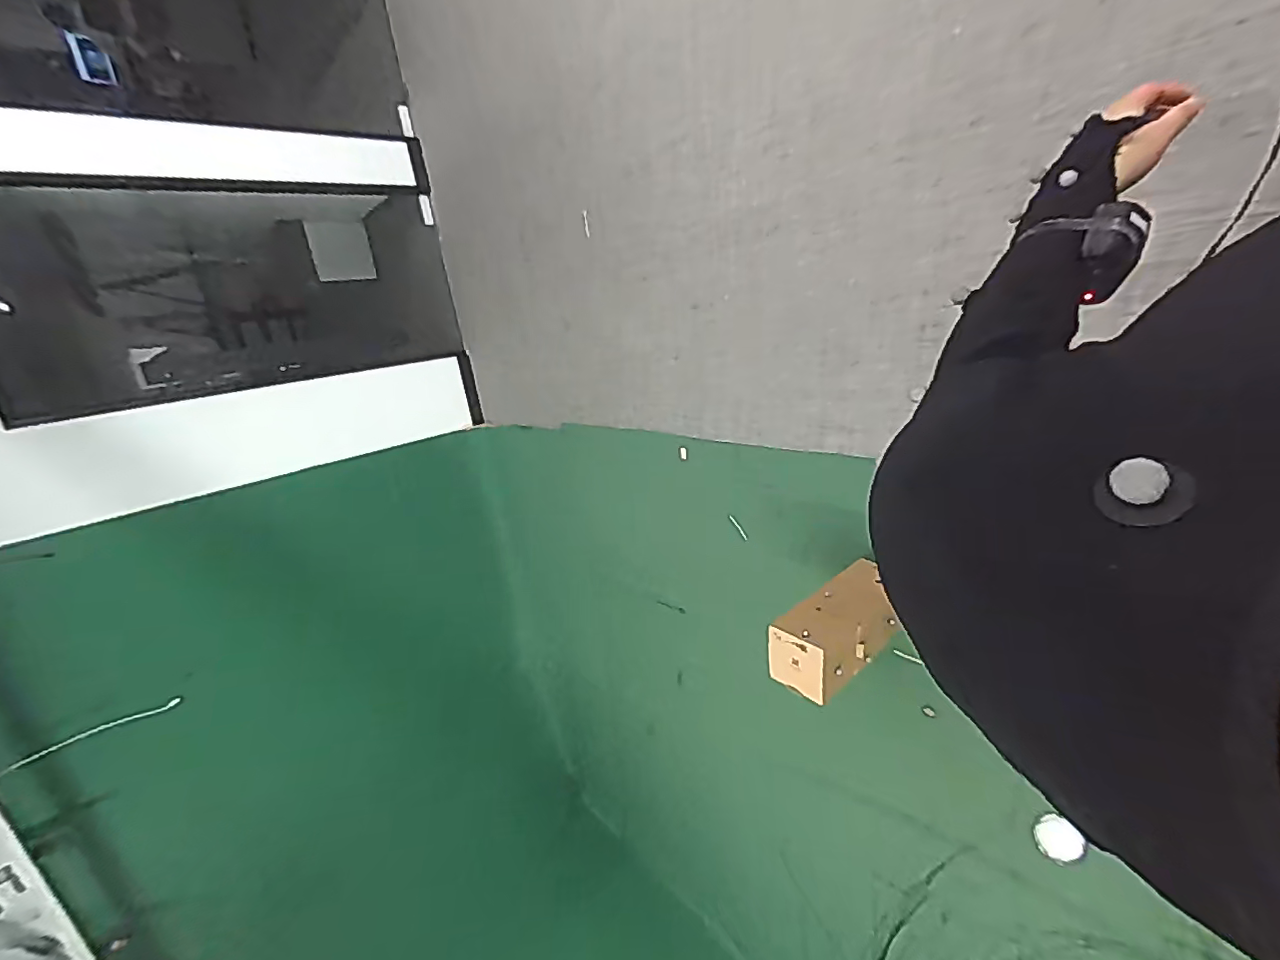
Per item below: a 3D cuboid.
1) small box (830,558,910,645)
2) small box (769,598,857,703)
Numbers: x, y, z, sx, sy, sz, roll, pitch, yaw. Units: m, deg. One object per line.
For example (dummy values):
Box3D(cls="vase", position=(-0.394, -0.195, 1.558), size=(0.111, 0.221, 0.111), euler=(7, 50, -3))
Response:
Box3D(cls="small box", position=(0.706, 0.365, 1.662), size=(0.168, 0.176, 0.179), euler=(22, 123, 44))
Box3D(cls="small box", position=(0.465, 0.451, 1.454), size=(0.168, 0.176, 0.179), euler=(17, 120, 47))
